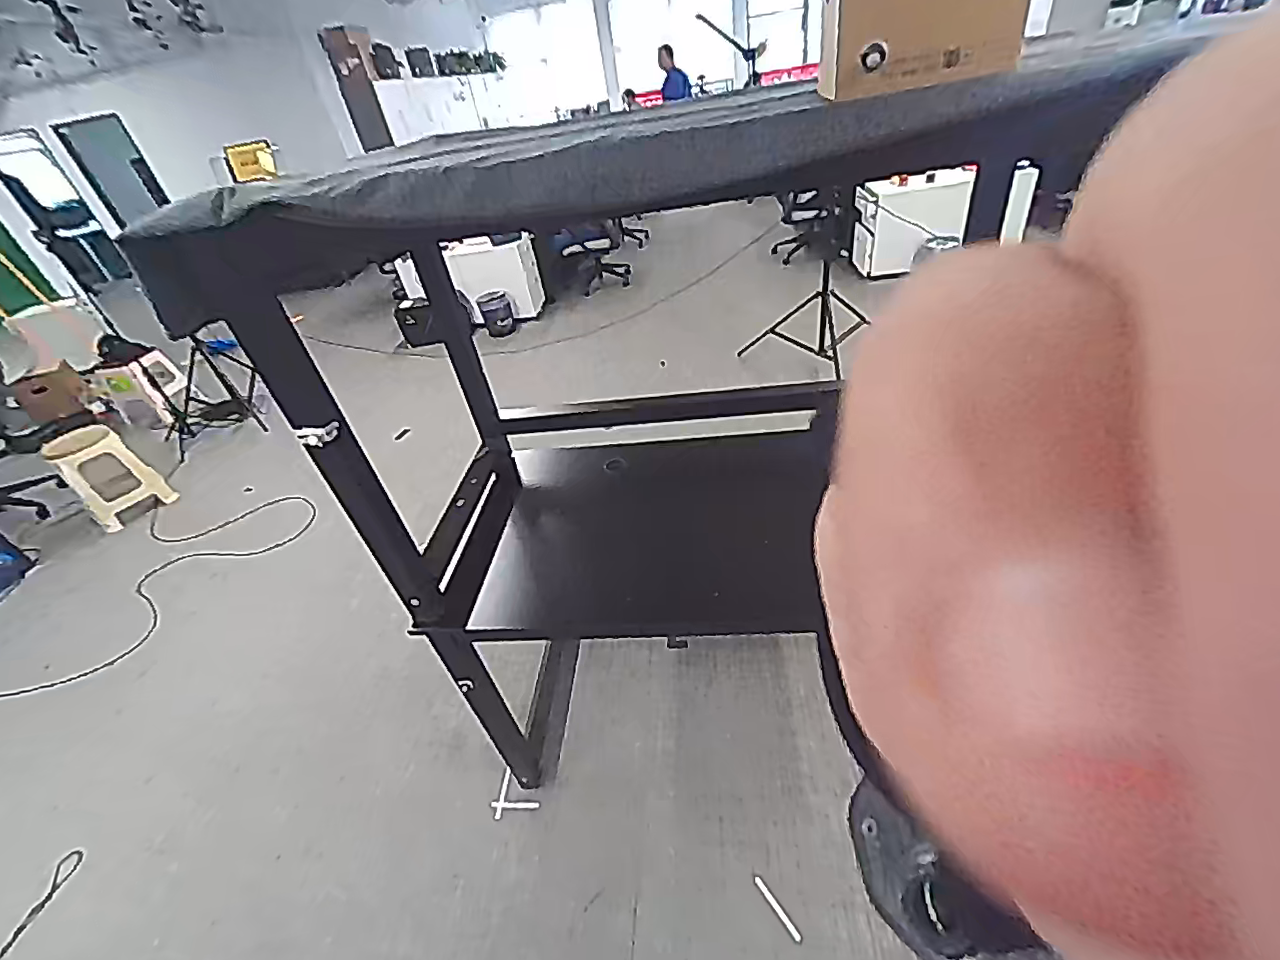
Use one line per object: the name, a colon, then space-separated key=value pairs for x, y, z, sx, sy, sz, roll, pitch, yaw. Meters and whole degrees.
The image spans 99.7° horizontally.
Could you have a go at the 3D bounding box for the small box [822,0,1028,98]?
small box: x=0.279 y=-0.500 z=0.545 sx=0.168 sy=0.176 sz=0.179 roll=-1 pitch=35 yaw=12
